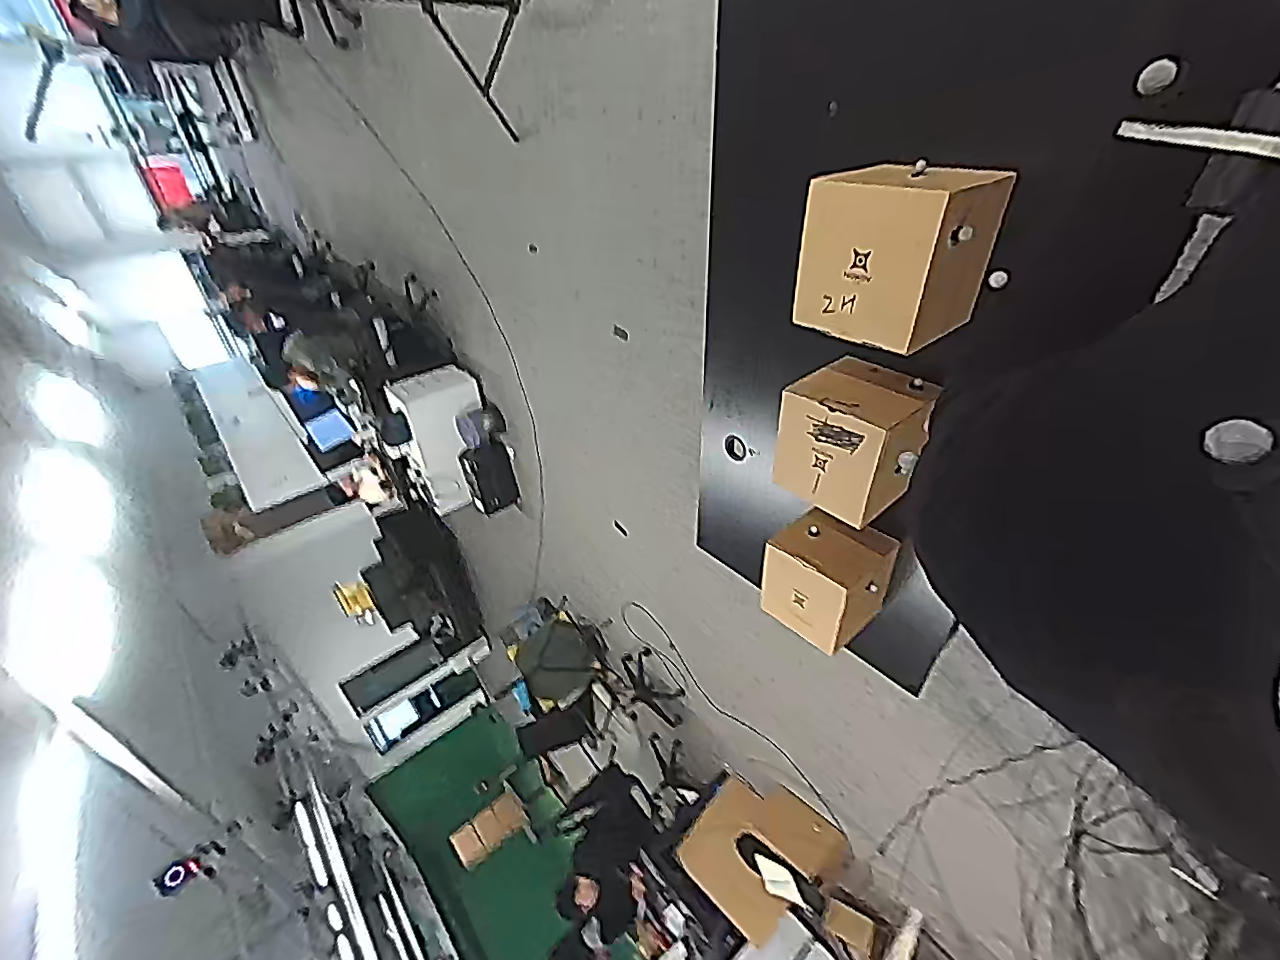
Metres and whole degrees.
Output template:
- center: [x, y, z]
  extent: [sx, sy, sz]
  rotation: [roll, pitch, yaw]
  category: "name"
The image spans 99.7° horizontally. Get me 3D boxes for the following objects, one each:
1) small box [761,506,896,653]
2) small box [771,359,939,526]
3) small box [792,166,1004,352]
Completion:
- center: [0.349, 0.174, 1.006]
  extent: [0.168, 0.176, 0.179]
  rotation: [32, 139, 42]
  category: "small box"
- center: [0.330, -0.068, 0.838]
  extent: [0.168, 0.176, 0.179]
  rotation: [34, 141, 39]
  category: "small box"
- center: [0.319, -0.286, 0.679]
  extent: [0.168, 0.176, 0.179]
  rotation: [34, 139, 40]
  category: "small box"
